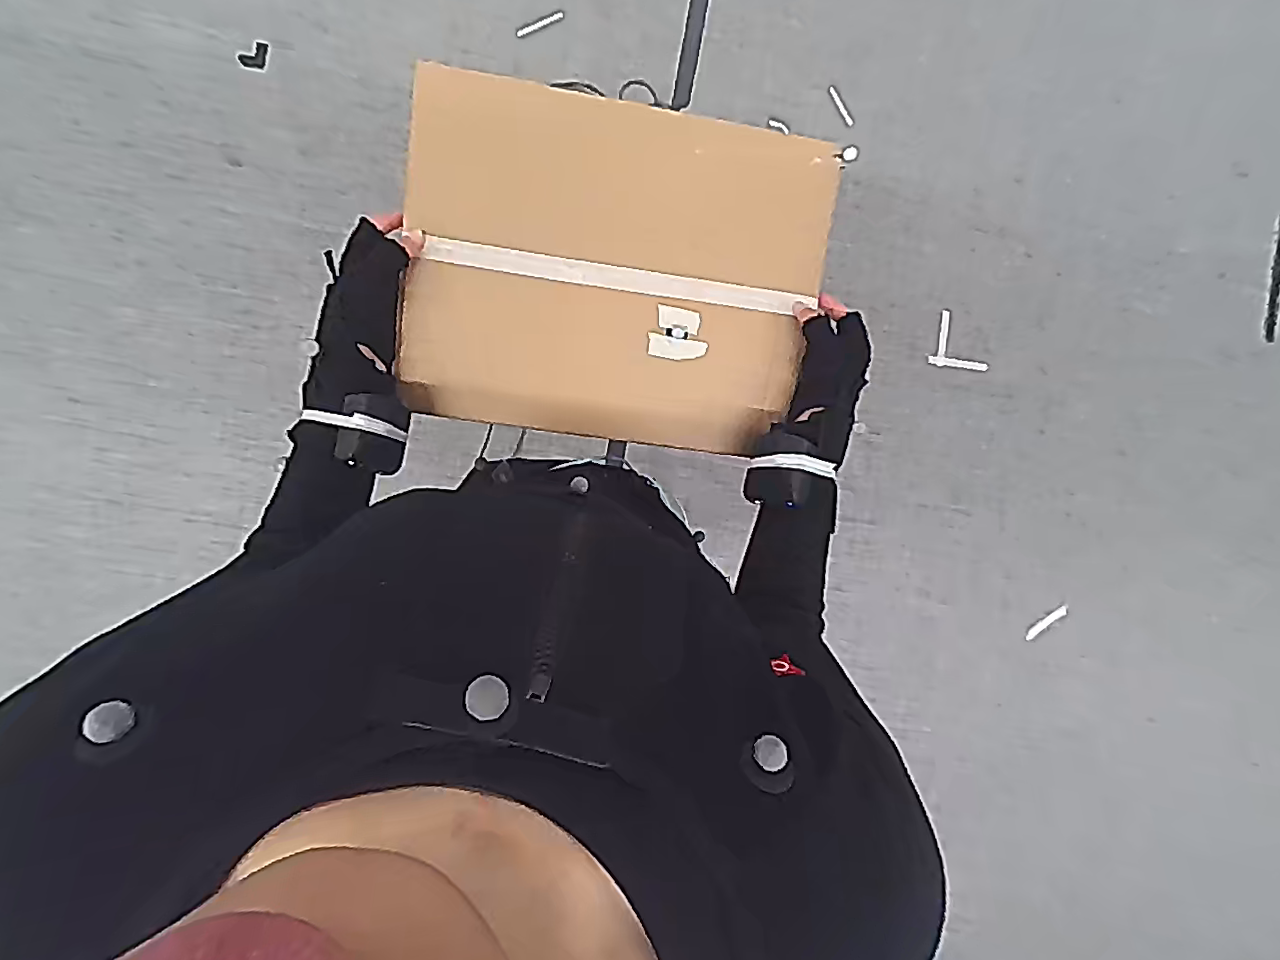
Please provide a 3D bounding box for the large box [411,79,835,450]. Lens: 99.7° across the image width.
[{"bbox_3d":[-0.032,-0.226,0.689,0.408,0.320,0.320,7,99,-6],"label":"large box"}]
